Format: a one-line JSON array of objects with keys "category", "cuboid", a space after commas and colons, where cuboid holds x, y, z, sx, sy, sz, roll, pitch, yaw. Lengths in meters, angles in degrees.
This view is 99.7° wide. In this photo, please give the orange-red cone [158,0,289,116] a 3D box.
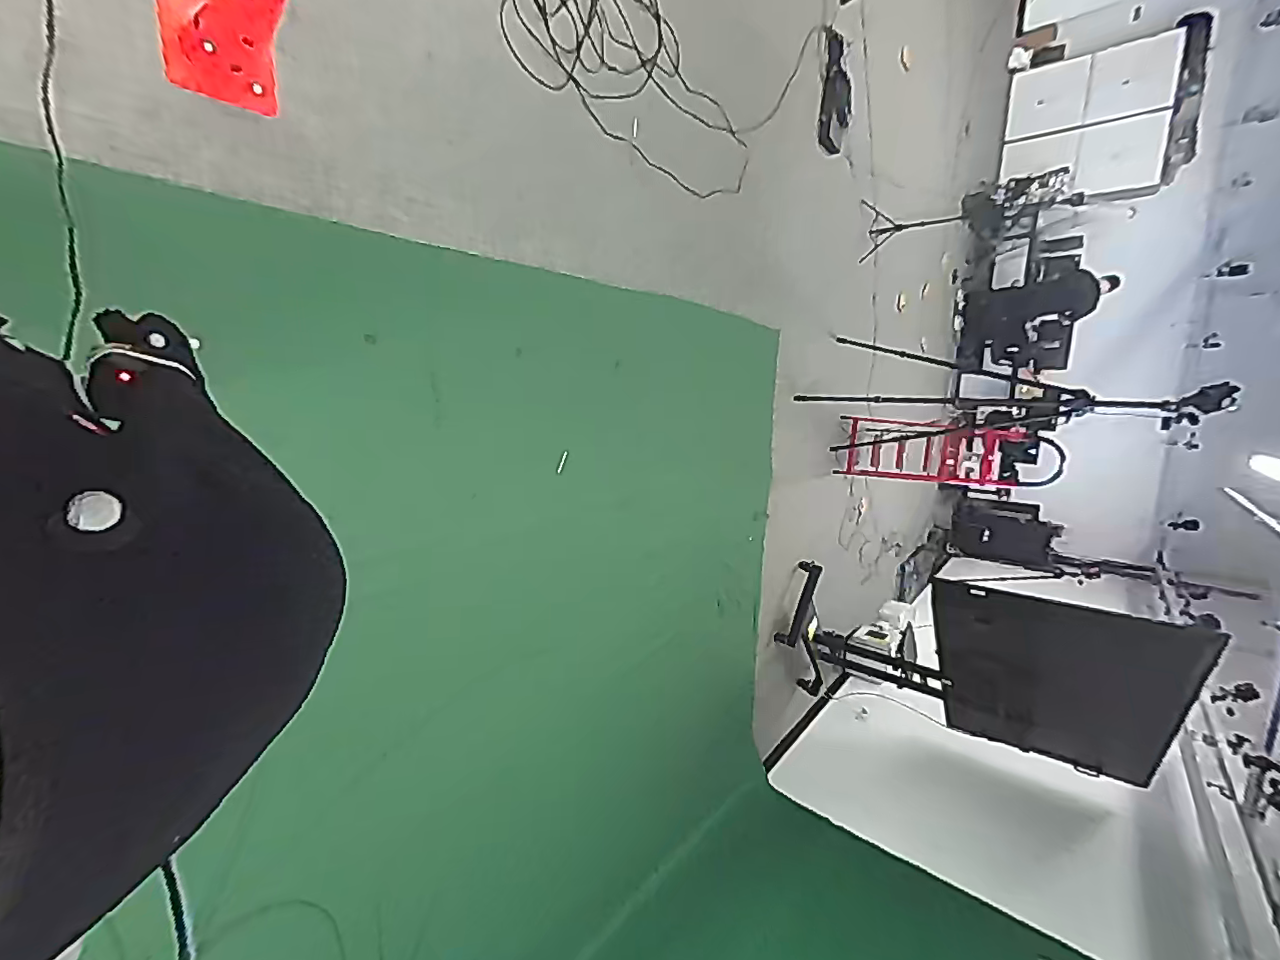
[{"category": "orange-red cone", "cuboid": [-0.754, -0.890, 1.038, 0.198, 0.360, 0.199, -10, 104, -50]}]
